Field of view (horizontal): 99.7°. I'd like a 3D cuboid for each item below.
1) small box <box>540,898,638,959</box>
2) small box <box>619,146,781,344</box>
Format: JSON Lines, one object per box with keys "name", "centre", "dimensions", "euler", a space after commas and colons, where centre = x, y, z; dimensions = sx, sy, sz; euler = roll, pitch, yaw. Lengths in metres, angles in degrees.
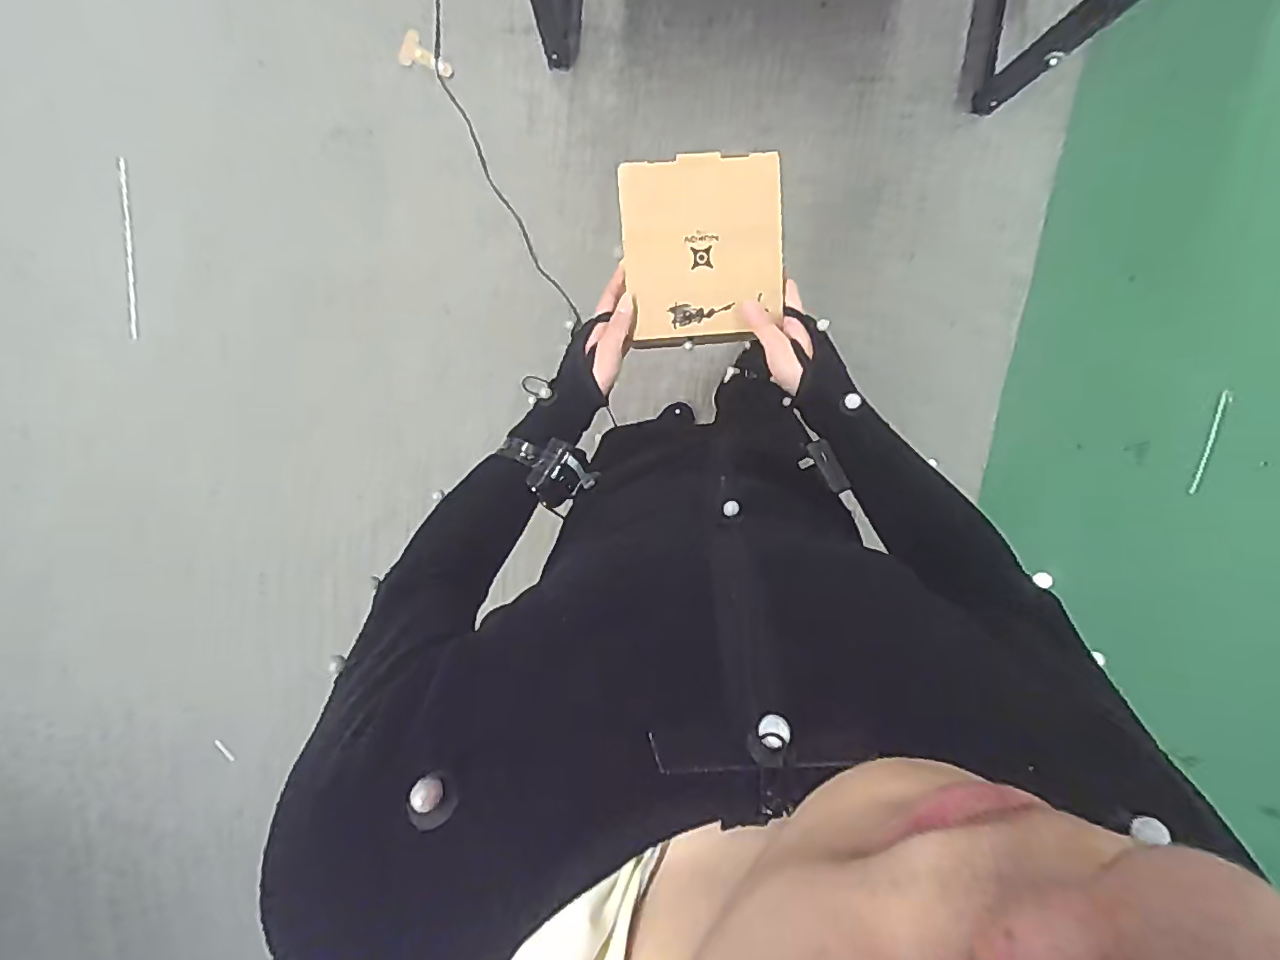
{"name": "small box", "centre": [-0.097, 0.881, 0.941], "dimensions": [0.168, 0.176, 0.179], "euler": [10, 101, -1]}
{"name": "small box", "centre": [0.062, -0.259, 0.634], "dimensions": [0.168, 0.176, 0.179], "euler": [-4, 101, 0]}
